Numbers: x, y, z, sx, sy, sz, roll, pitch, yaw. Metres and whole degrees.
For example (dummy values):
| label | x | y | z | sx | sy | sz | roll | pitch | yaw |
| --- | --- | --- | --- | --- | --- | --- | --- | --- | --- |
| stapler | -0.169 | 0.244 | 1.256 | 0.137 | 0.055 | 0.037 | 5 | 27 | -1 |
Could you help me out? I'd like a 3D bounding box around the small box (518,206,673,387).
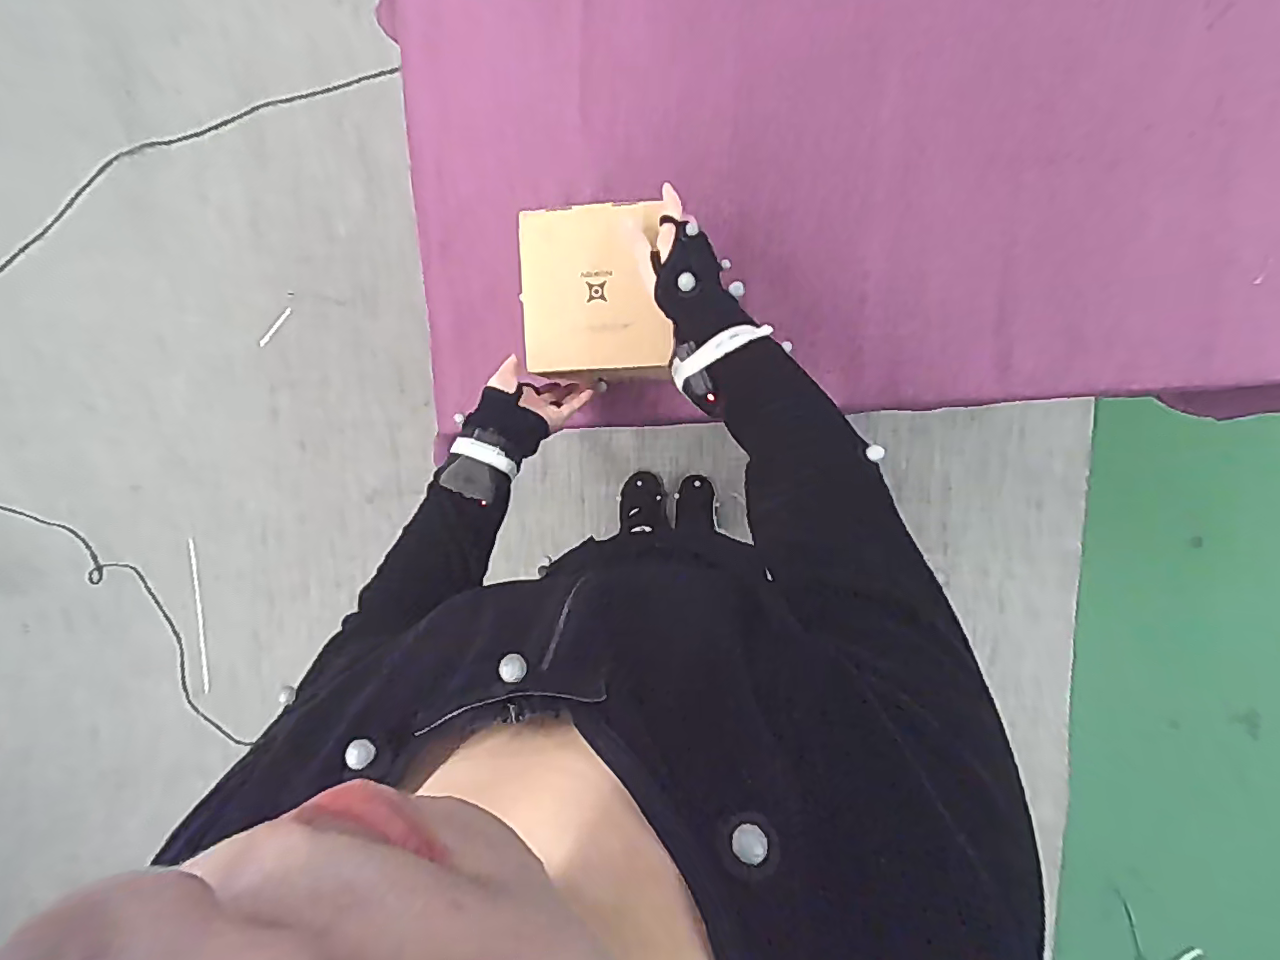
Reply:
| label | x | y | z | sx | sy | sz | roll | pitch | yaw |
| --- | --- | --- | --- | --- | --- | --- | --- | --- | --- |
| small box | -0.045 | -0.212 | 0.669 | 0.168 | 0.176 | 0.179 | -1 | 95 | 5 |
